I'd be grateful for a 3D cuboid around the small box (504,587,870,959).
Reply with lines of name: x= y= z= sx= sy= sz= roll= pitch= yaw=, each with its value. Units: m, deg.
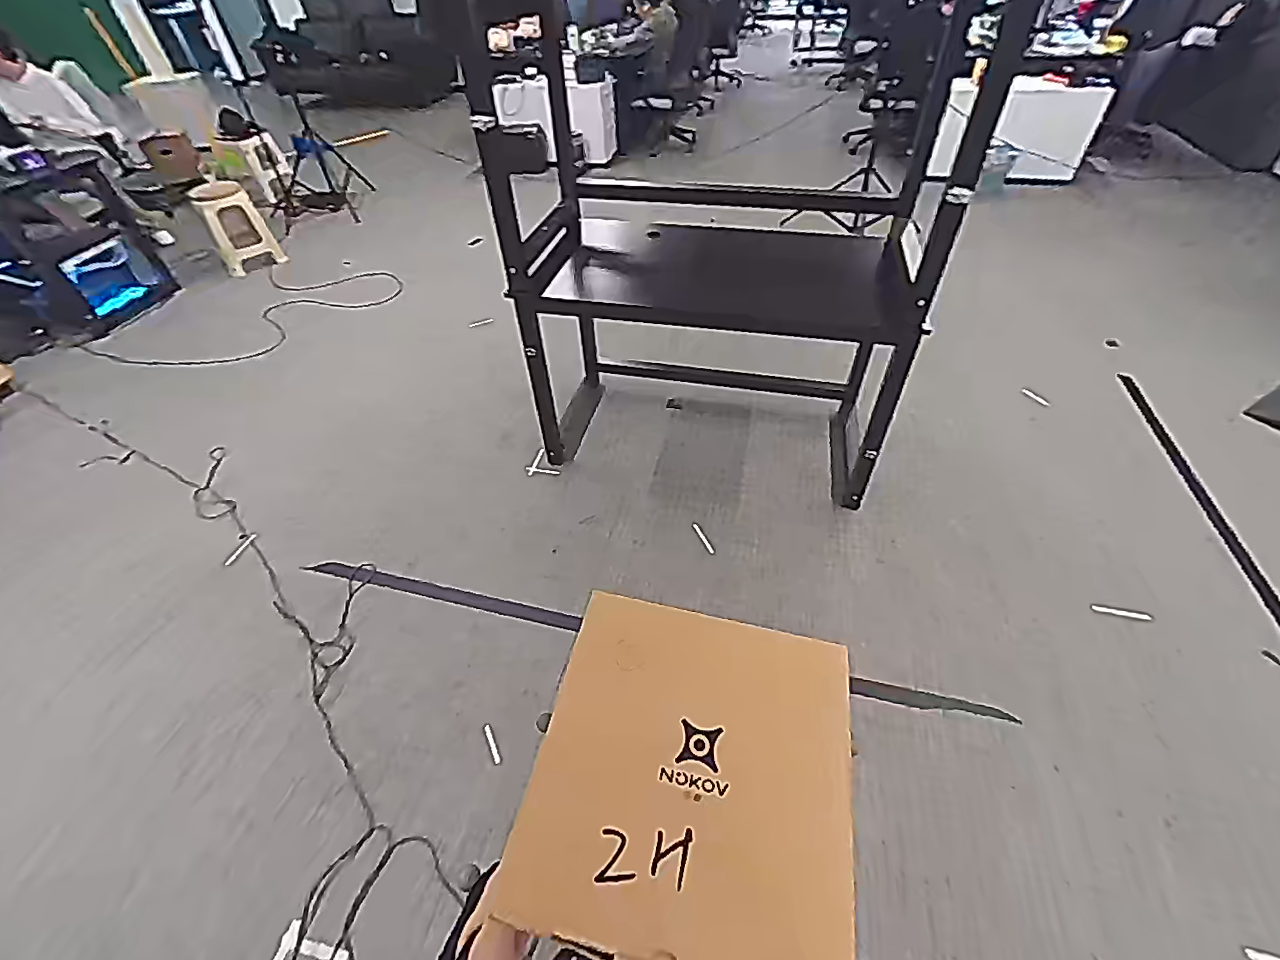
small box: x=0.033 y=0.200 z=0.345 sx=0.168 sy=0.176 sz=0.179 roll=11 pitch=50 yaw=8
